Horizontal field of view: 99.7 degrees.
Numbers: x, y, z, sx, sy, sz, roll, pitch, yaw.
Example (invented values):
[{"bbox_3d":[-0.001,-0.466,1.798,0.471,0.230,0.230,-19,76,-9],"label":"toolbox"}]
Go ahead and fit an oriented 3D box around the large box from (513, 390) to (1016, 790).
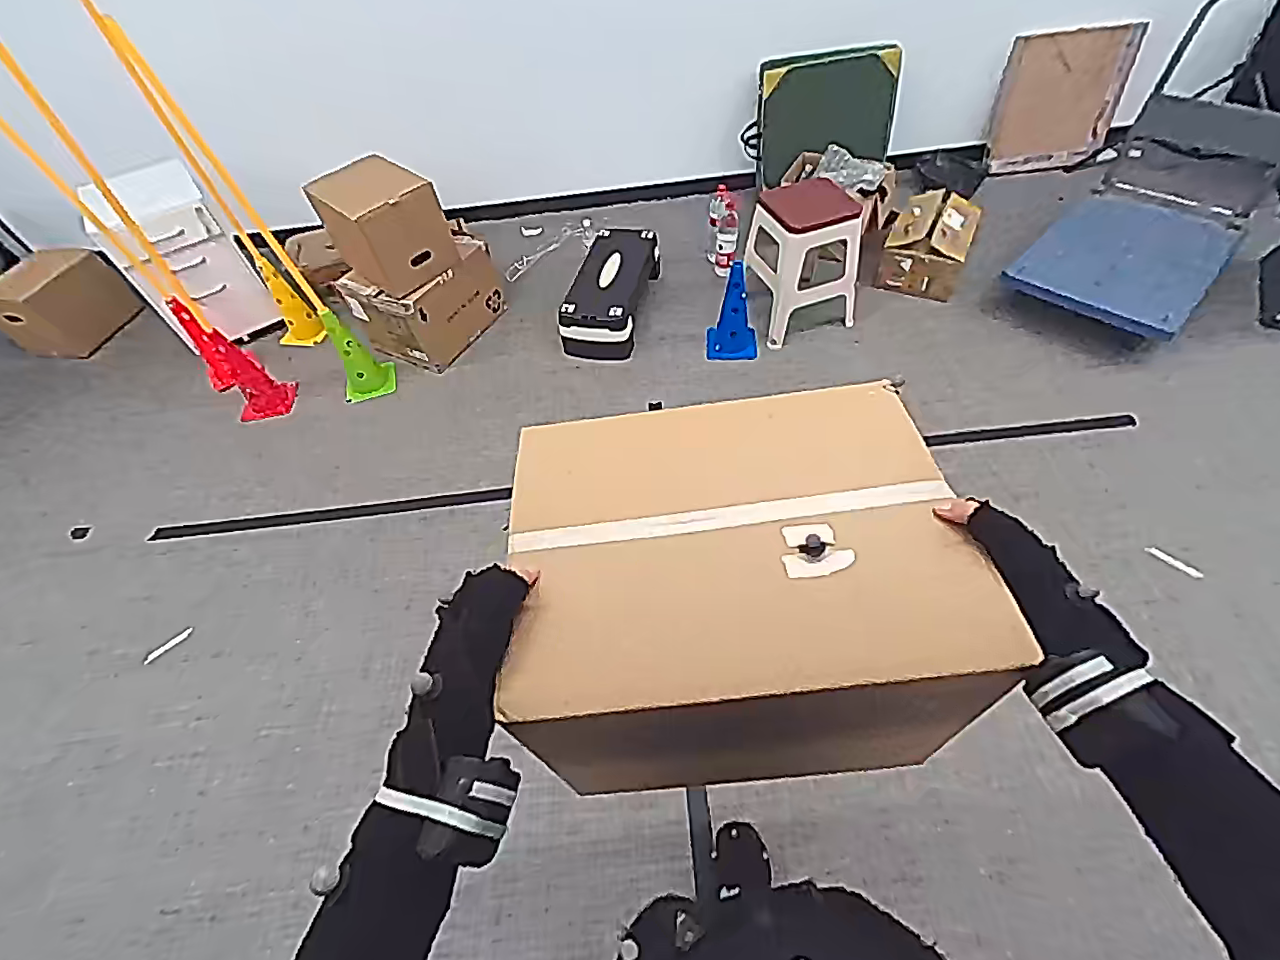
[{"bbox_3d":[0.097,0.136,0.626,0.408,0.320,0.320,-7,50,2],"label":"large box"}]
